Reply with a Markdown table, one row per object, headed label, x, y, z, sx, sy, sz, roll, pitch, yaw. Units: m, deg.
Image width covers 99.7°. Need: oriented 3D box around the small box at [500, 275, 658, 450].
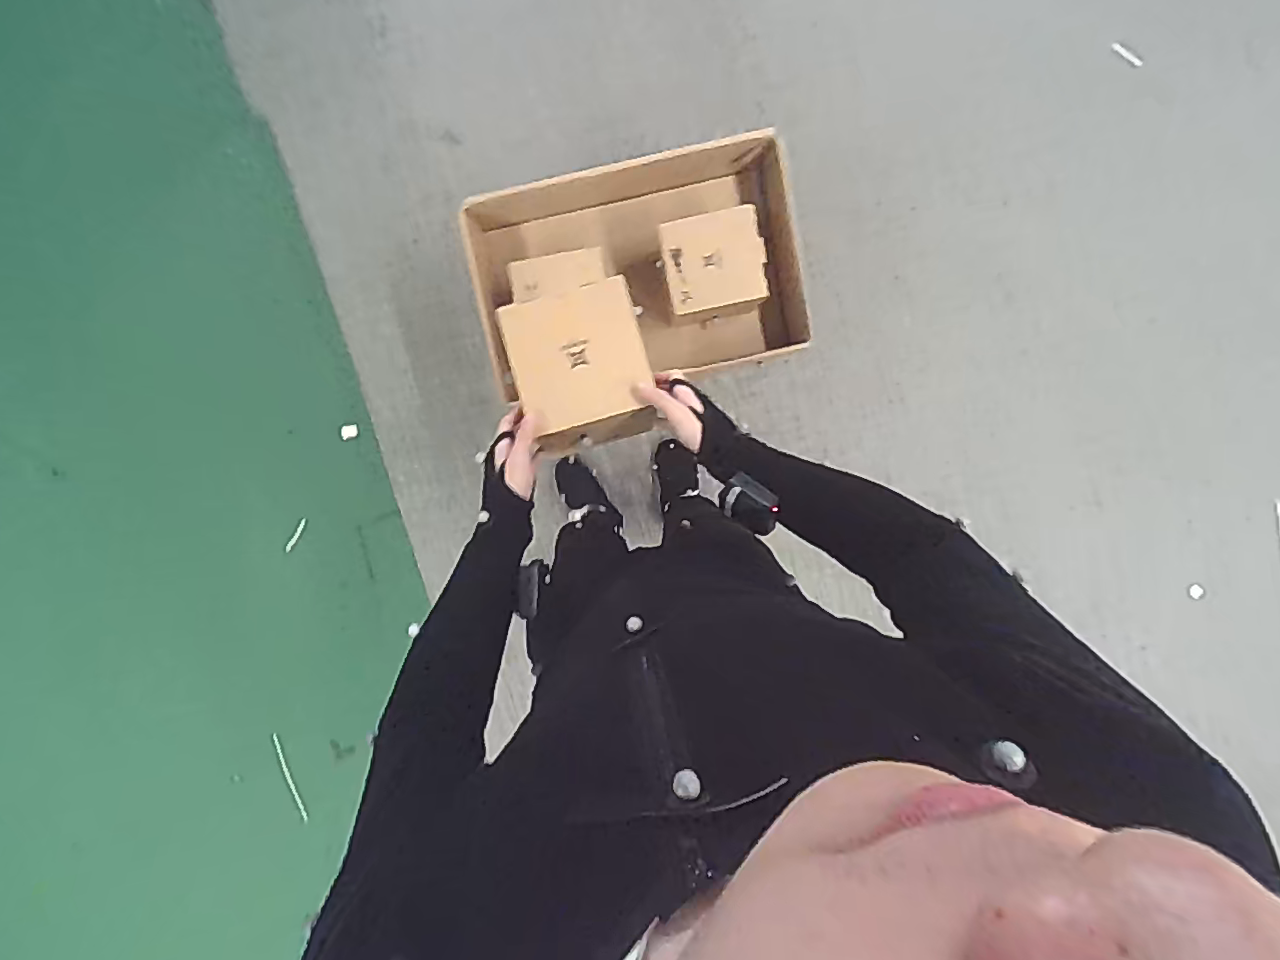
| label | x | y | z | sx | sy | sz | roll | pitch | yaw |
| --- | --- | --- | --- | --- | --- | --- | --- | --- | --- |
| small box | -0.076 | -0.147 | 0.748 | 0.168 | 0.176 | 0.179 | -16 | 83 | -3 |
